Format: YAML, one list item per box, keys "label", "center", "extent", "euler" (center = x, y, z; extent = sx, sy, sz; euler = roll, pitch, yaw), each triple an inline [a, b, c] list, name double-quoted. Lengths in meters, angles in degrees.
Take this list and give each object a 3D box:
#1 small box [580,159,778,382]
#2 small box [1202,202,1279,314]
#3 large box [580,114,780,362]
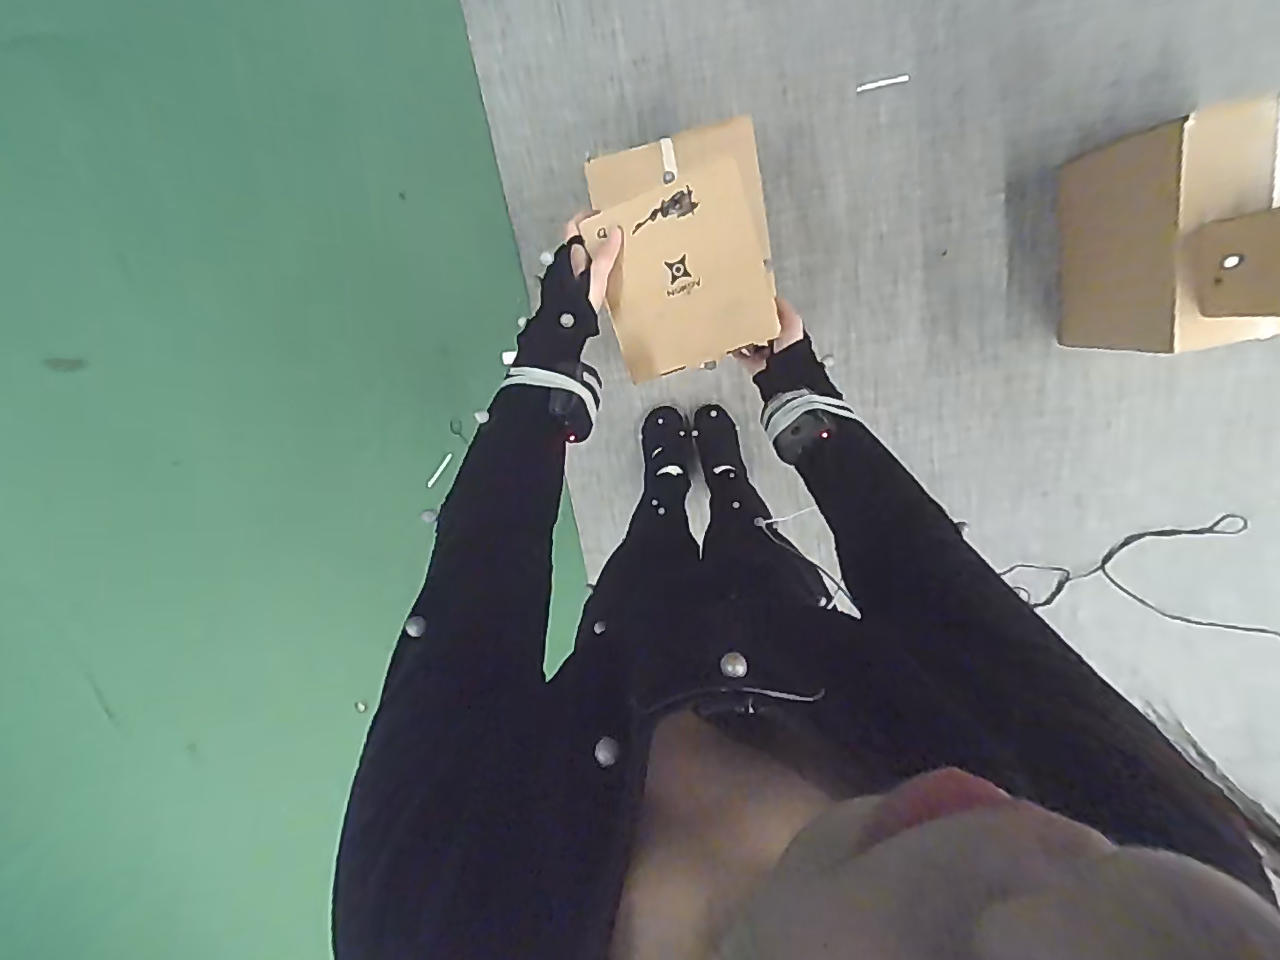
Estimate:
- label: "small box"
  center: [0.053, -0.230, 0.623]
  extent: [0.168, 0.176, 0.179]
  euler: [-16, 105, 13]
- label: "small box"
  center: [1.099, -0.377, 0.887]
  extent: [0.179, 0.176, 0.168]
  euler: [-12, 106, 8]
- label: "large box"
  center: [0.092, -0.472, 1.162]
  extent: [0.320, 0.320, 0.408]
  euler: [-11, 105, 6]
